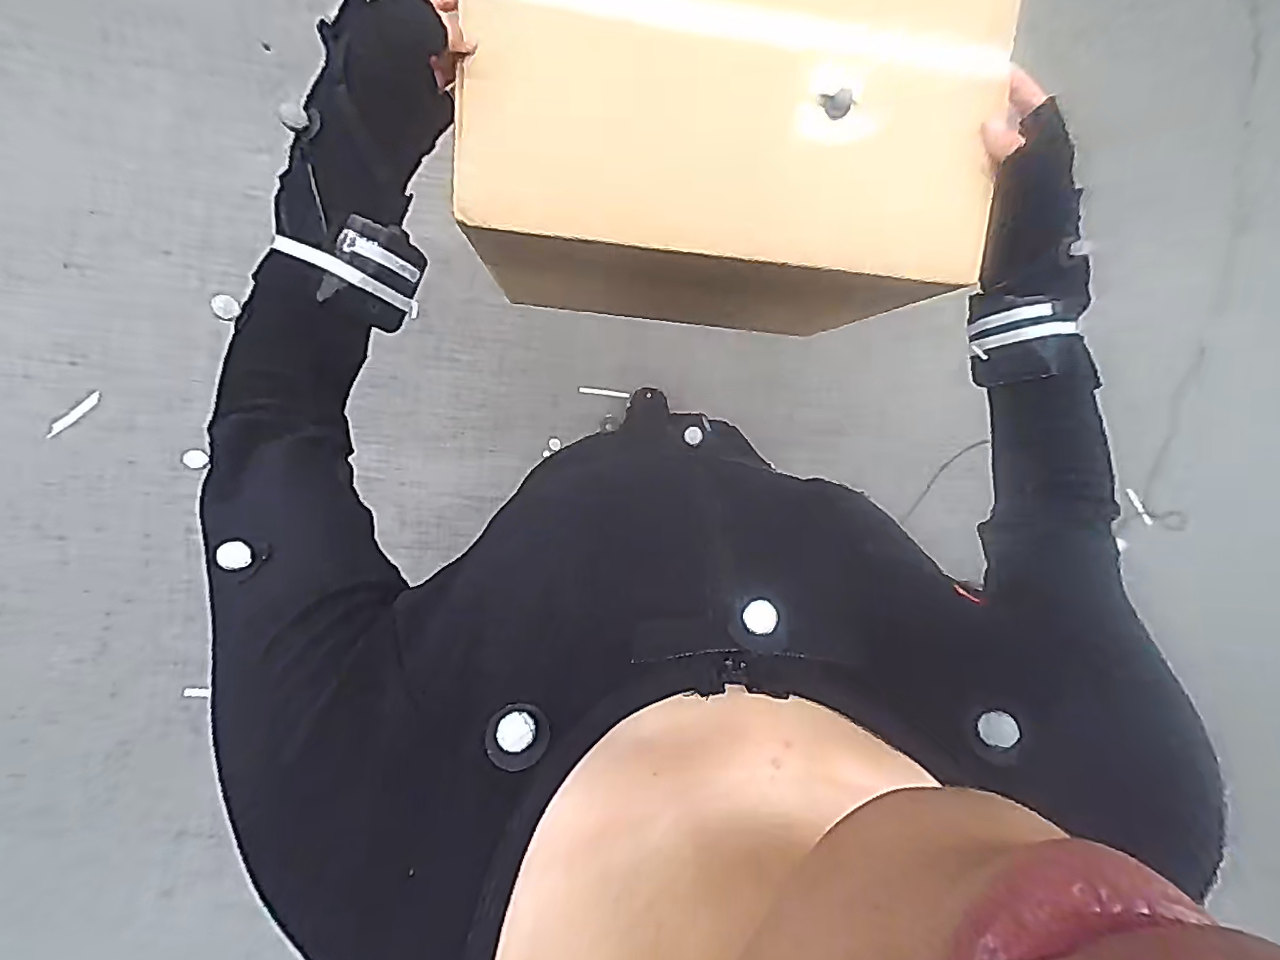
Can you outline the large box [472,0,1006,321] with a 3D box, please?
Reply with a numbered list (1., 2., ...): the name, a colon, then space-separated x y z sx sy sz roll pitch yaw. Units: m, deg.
1. large box: 0.062 -0.354 0.545 0.408 0.320 0.320 3 98 -8
